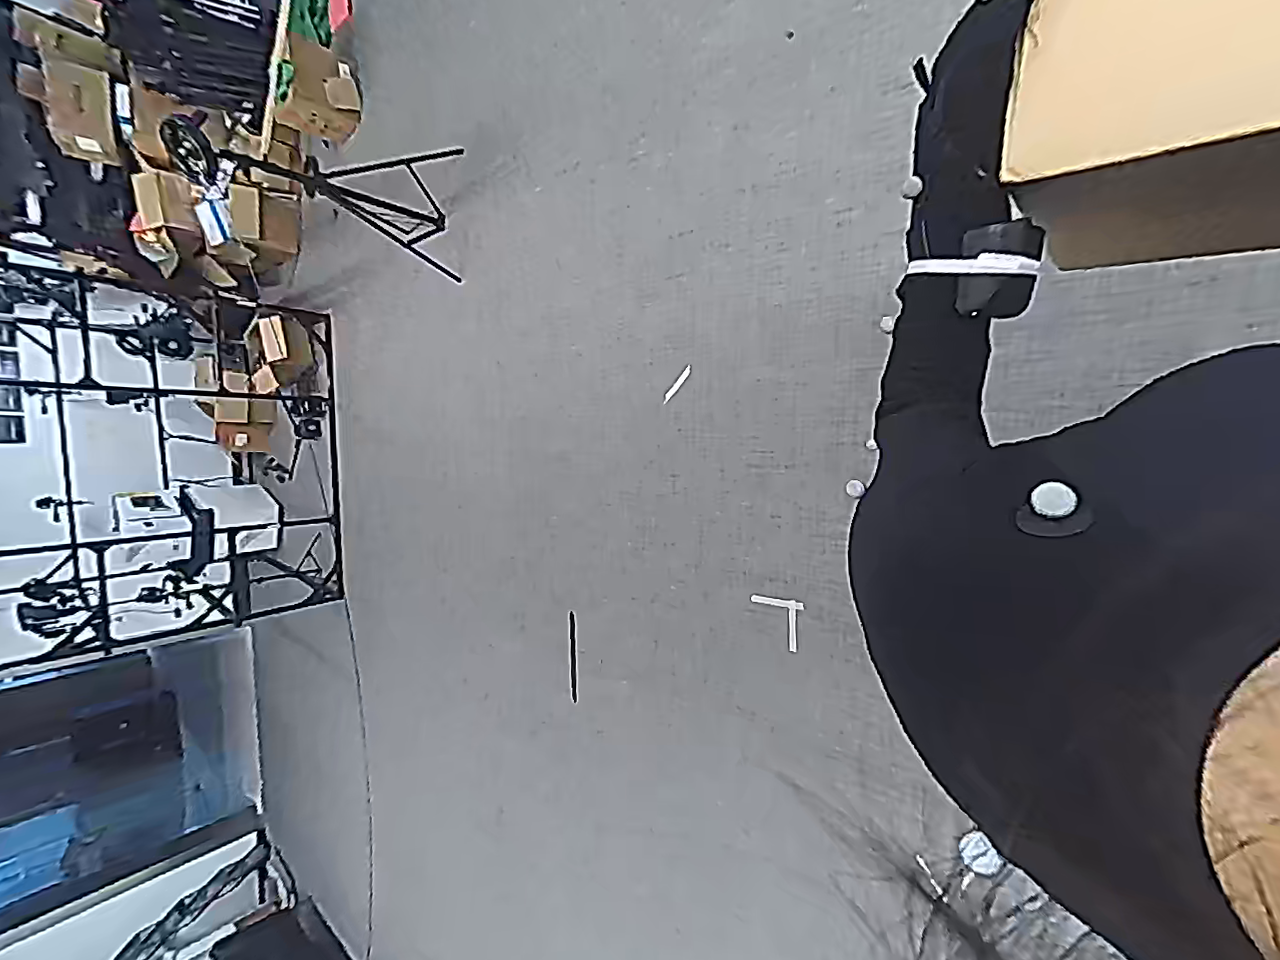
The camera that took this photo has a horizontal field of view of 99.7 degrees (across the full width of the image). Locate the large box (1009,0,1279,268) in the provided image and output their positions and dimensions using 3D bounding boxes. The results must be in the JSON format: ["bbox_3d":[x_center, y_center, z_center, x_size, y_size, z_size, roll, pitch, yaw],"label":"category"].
[{"bbox_3d":[0.518,-0.357,0.353,0.408,0.320,0.320,9,101,42],"label":"large box"}]
